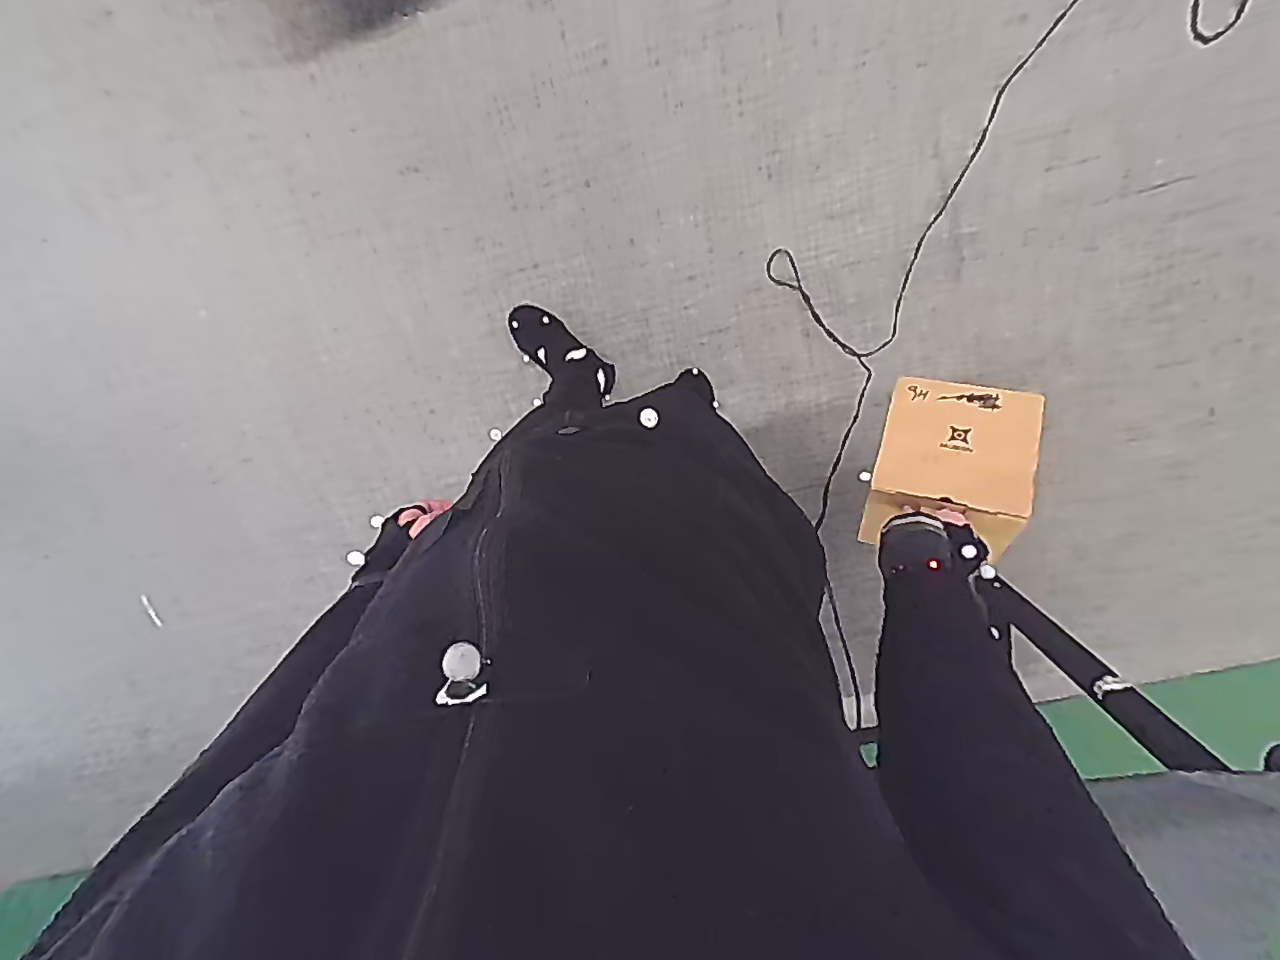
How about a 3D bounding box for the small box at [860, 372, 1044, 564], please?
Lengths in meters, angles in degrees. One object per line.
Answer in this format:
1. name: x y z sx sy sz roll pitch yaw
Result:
1. small box: 0.396 -0.011 0.711 0.168 0.176 0.179 15 67 24
